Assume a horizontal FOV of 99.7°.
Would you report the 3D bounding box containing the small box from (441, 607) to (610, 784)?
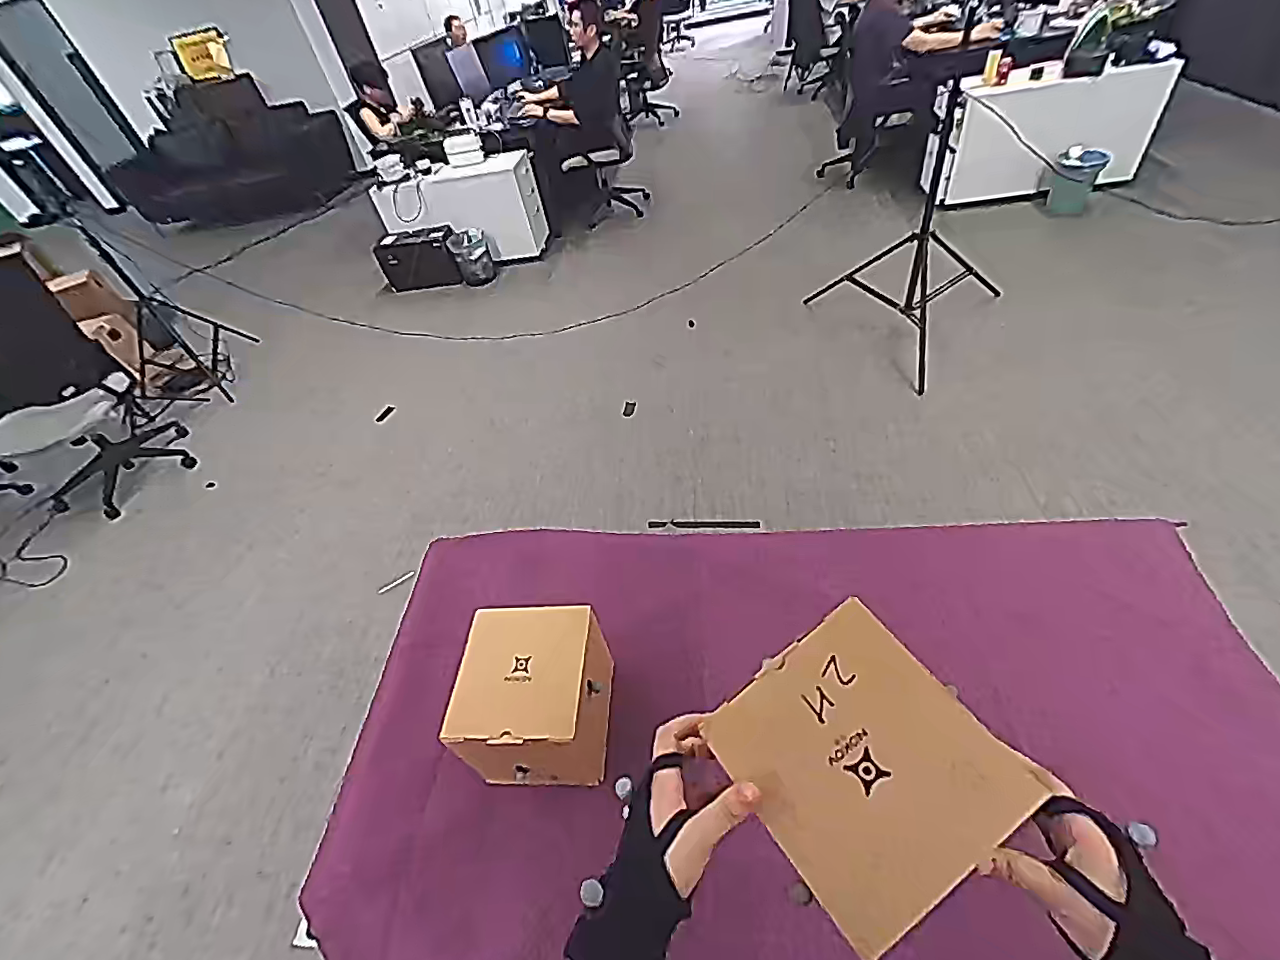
[{"bbox_3d":[-0.139,0.293,0.737,0.168,0.176,0.179,-4,47,8],"label":"small box"}]
